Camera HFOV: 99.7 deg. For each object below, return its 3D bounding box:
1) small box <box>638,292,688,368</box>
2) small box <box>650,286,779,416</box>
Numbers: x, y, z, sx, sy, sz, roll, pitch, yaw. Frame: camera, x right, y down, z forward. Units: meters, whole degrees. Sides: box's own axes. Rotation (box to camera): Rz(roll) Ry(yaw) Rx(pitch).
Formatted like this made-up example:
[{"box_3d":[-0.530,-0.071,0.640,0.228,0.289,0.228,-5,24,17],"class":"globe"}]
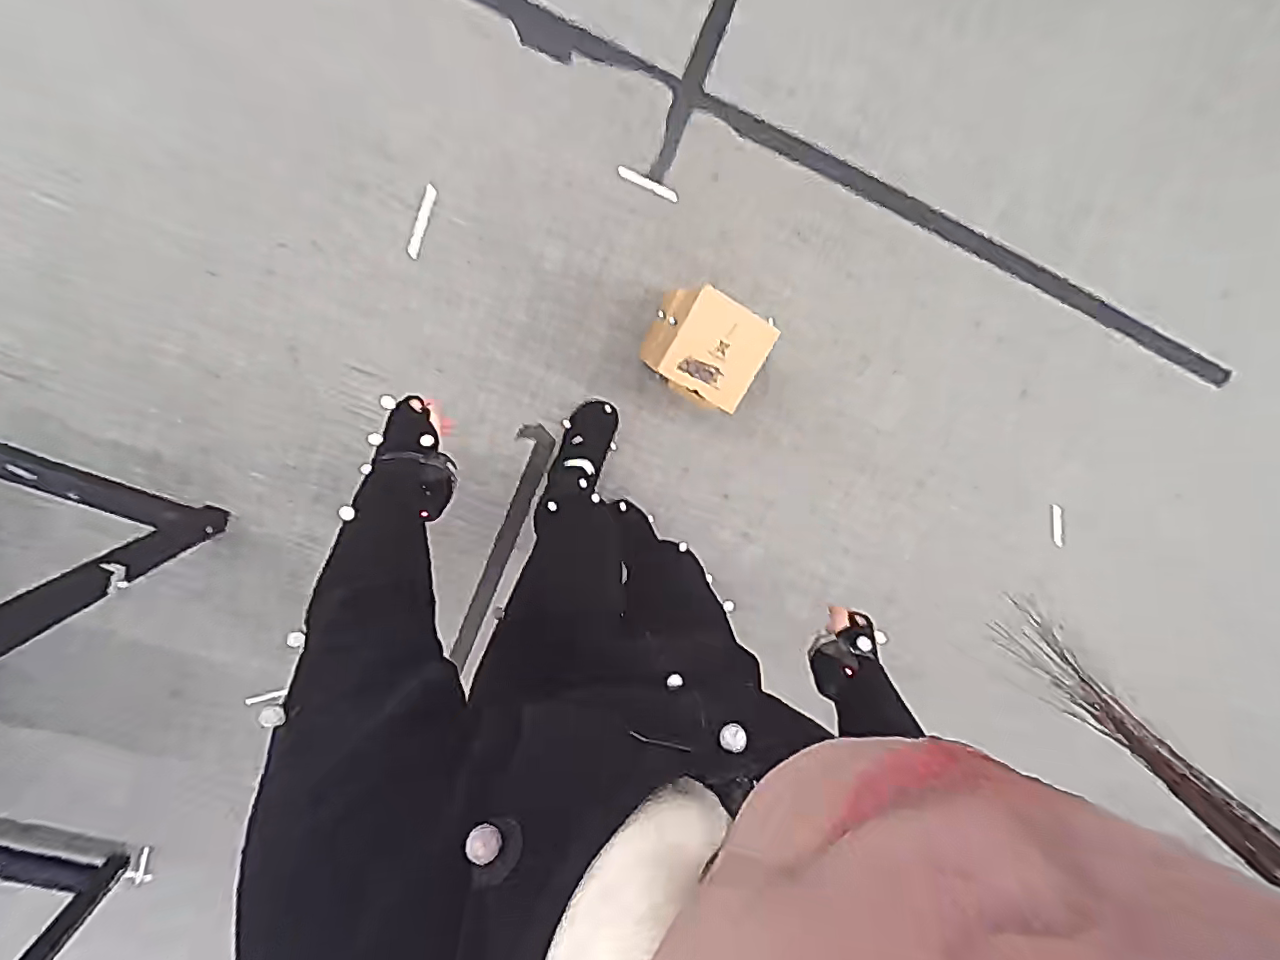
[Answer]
[{"box_3d":[0.113,-0.301,1.198,0.179,0.176,0.168,23,102,-13],"class":"small box"},{"box_3d":[0.131,-0.248,1.043,0.168,0.176,0.179,28,101,-13],"class":"small box"}]
